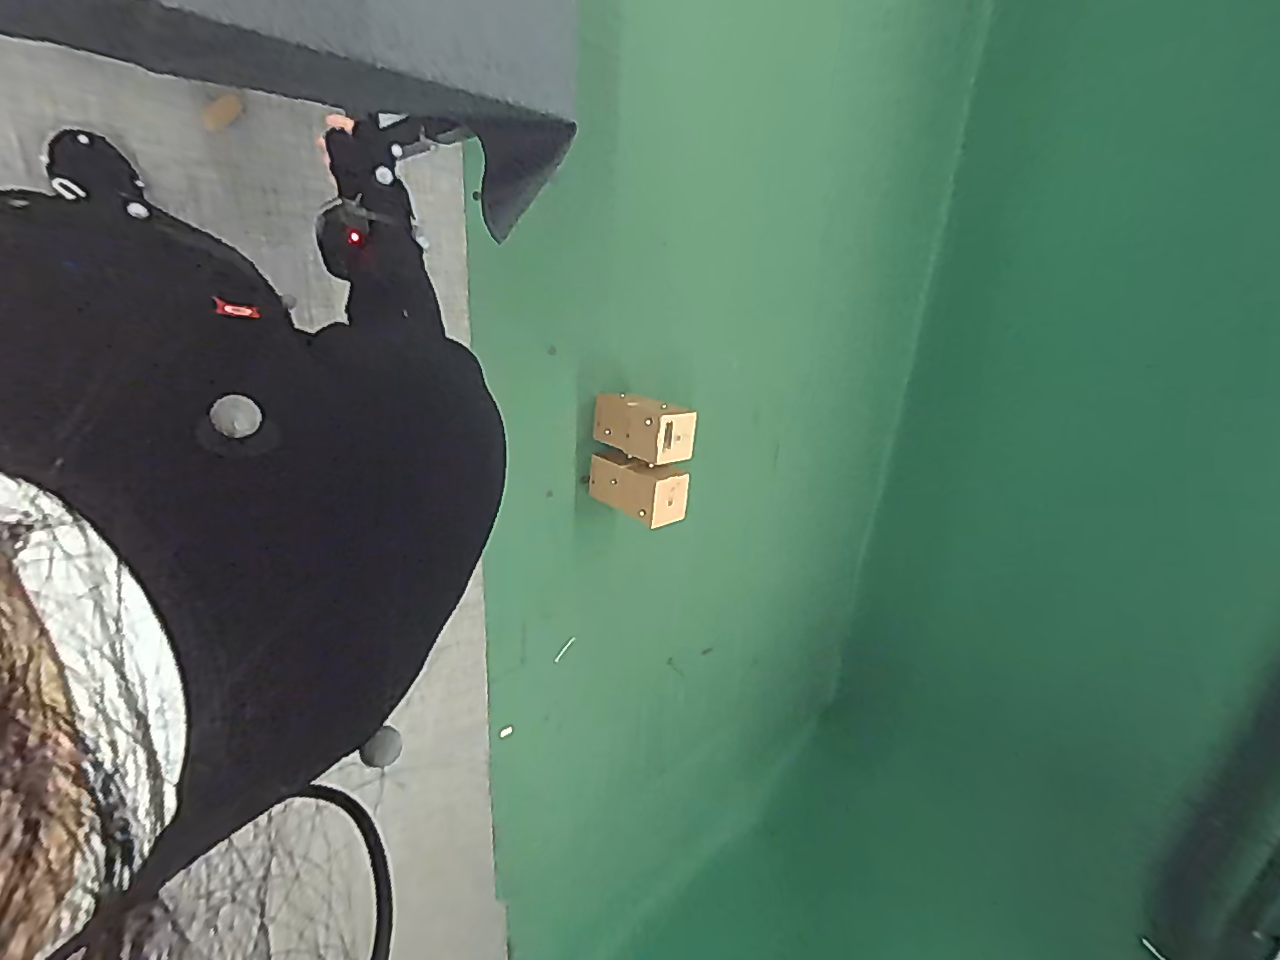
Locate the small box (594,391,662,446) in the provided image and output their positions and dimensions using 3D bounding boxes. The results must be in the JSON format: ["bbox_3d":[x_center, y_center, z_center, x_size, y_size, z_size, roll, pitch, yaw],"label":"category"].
[{"bbox_3d":[-0.047,-0.223,1.946,0.179,0.176,0.168,-9,113,-42],"label":"small box"}]
